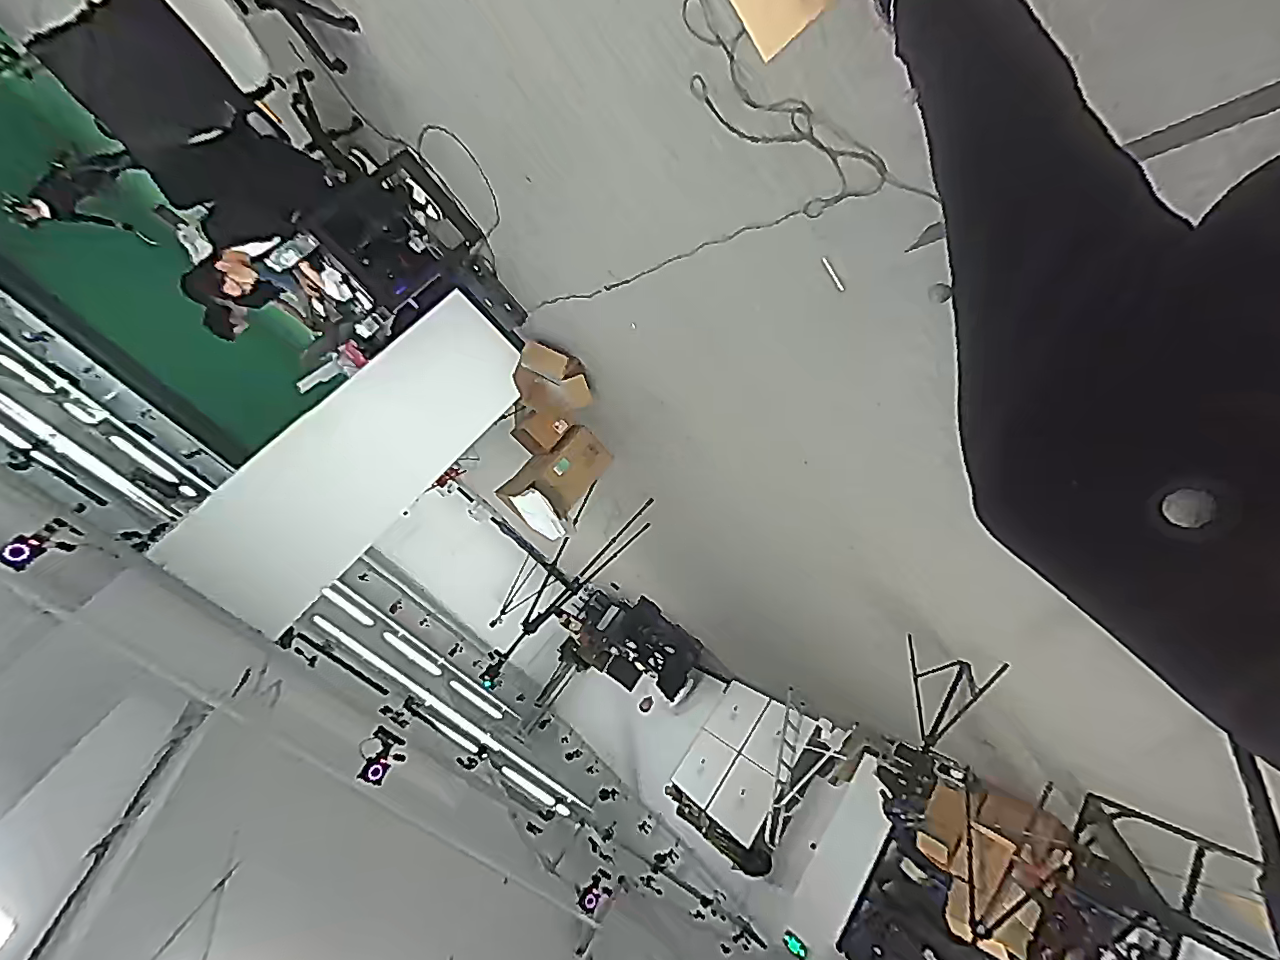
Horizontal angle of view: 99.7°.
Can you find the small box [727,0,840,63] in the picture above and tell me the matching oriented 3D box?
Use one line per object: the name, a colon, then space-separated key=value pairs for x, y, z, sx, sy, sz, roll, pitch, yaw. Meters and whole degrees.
small box: x=0.189 y=-0.609 z=0.571 sx=0.168 sy=0.176 sz=0.179 roll=47 pitch=158 yaw=-21
